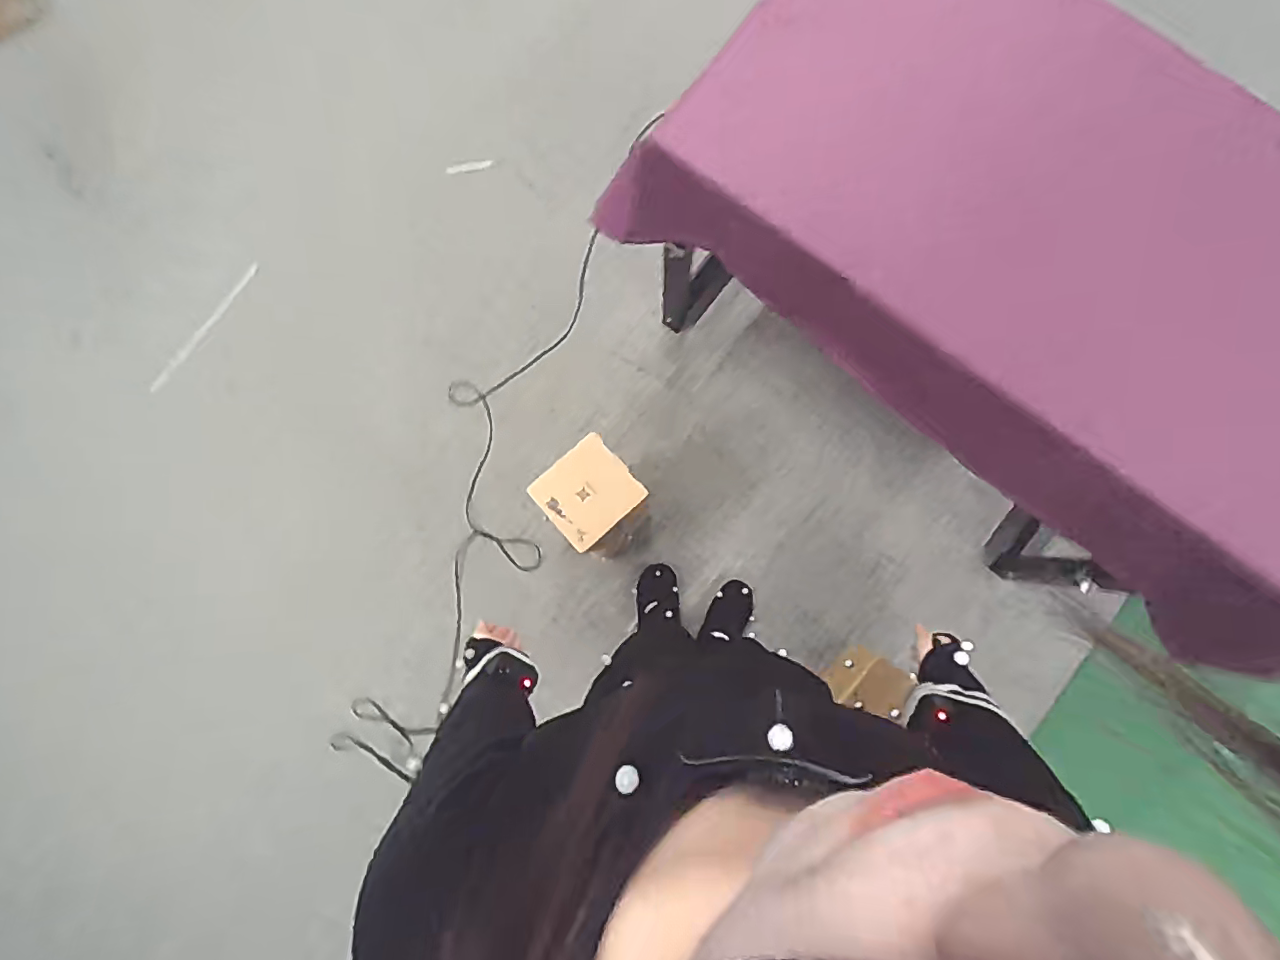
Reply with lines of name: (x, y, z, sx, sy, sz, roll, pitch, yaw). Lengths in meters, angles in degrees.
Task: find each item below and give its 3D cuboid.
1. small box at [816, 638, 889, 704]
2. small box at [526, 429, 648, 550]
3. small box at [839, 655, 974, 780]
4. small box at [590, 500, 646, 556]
small box: (0.578, 0.521, 1.368, 0.179, 0.176, 0.168, 42, 87, 4)
small box: (-0.102, 0.024, 1.101, 0.179, 0.176, 0.168, -42, 85, -3)
small box: (0.580, 0.513, 1.205, 0.179, 0.176, 0.168, 39, 88, 3)
small box: (-0.096, 0.081, 1.426, 0.168, 0.176, 0.179, 41, 86, 4)
